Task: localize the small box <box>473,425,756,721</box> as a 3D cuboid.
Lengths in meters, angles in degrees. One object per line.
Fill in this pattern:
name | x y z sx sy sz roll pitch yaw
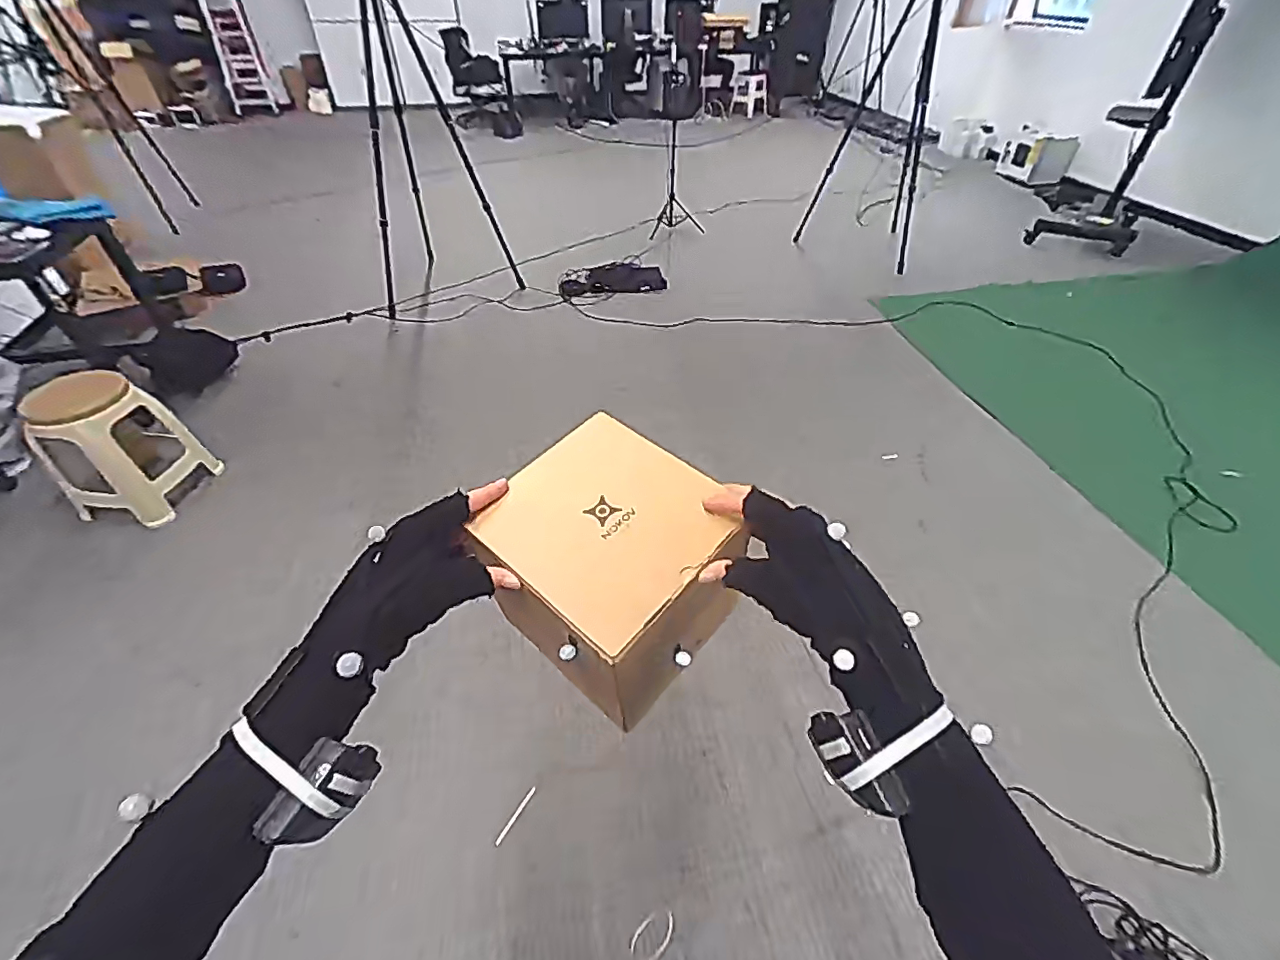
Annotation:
small box | -0.021 0.086 0.500 0.179 0.176 0.168 34 58 27
